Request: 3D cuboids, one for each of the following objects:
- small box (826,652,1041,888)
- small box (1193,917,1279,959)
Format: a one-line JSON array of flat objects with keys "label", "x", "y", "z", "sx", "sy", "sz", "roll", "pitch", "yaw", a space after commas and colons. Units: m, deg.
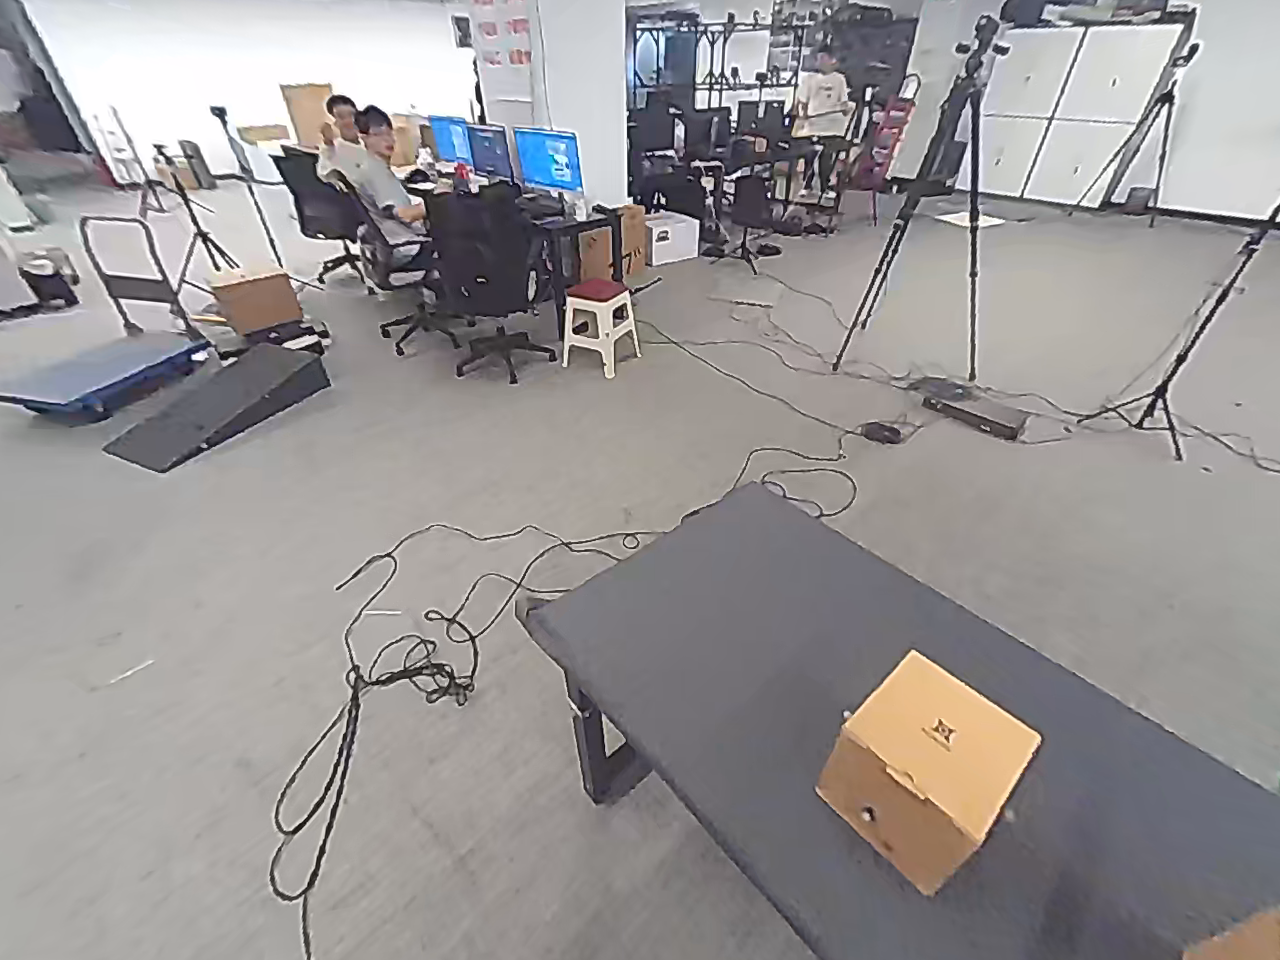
[{"label": "small box", "x": 0.366, "y": 0.370, "z": 0.701, "sx": 0.179, "sy": 0.176, "sz": 0.168, "roll": -28, "pitch": 45, "yaw": -31}, {"label": "small box", "x": 0.615, "y": 0.535, "z": 0.470, "sx": 0.179, "sy": 0.176, "sz": 0.168, "roll": -29, "pitch": 44, "yaw": -32}]
